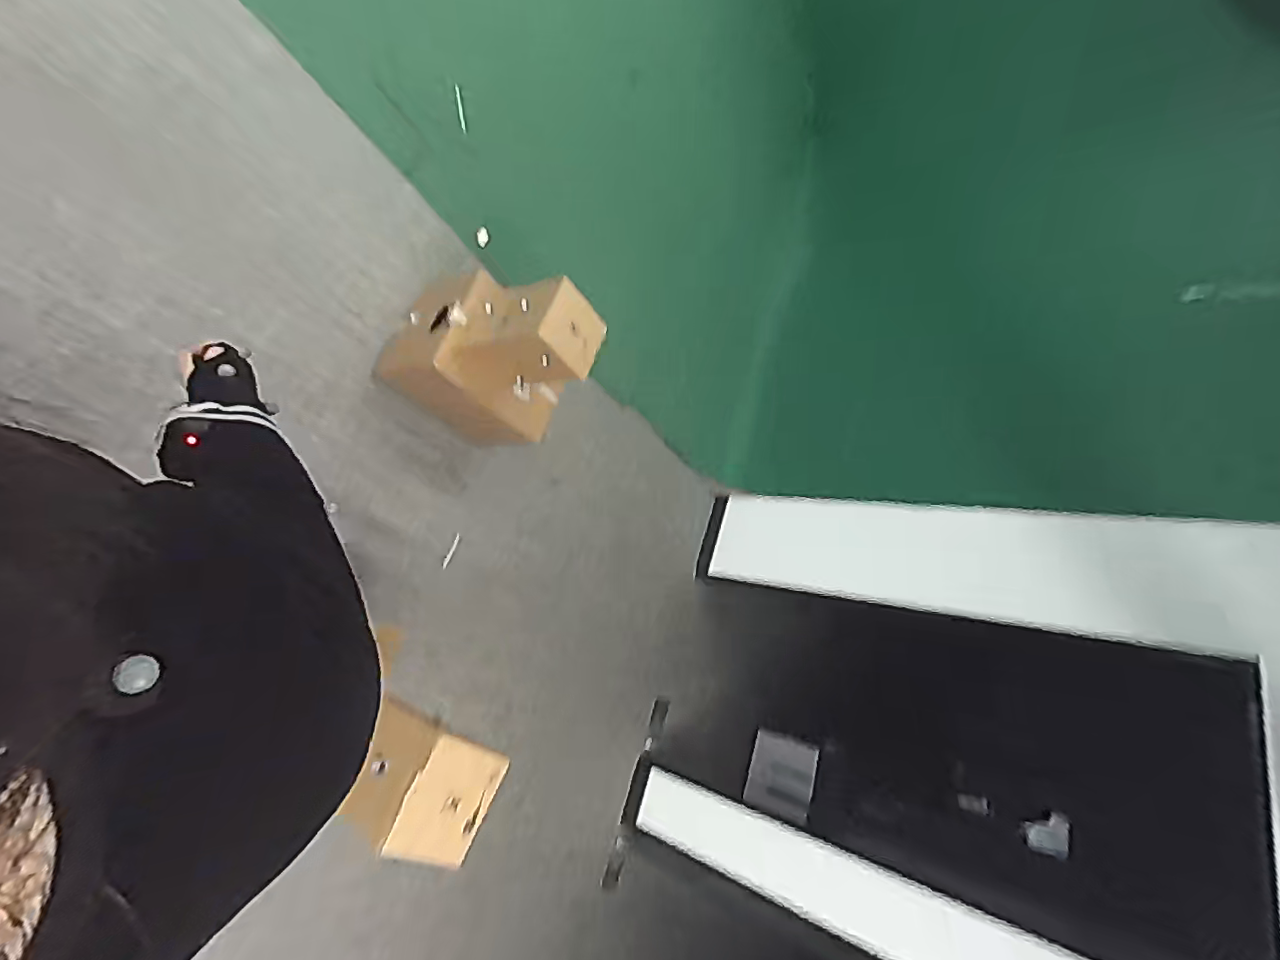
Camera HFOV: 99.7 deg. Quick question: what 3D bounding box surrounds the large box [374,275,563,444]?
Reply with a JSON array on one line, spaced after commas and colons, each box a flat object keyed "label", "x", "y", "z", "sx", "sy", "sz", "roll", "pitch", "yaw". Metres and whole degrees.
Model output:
[{"label": "large box", "x": -0.491, "y": -0.337, "z": 1.623, "sx": 0.408, "sy": 0.320, "sz": 0.320, "roll": 42, "pitch": 60, "yaw": -46}]

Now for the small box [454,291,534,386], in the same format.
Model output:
[{"label": "small box", "x": -0.347, "y": -0.357, "z": 1.409, "sx": 0.179, "sy": 0.176, "sz": 0.168, "roll": 44, "pitch": 58, "yaw": -45}]

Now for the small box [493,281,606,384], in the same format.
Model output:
[{"label": "small box", "x": -0.219, "y": -0.344, "z": 1.304, "sx": 0.179, "sy": 0.176, "sz": 0.168, "roll": 44, "pitch": 59, "yaw": -45}]

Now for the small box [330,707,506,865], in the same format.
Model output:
[{"label": "small box", "x": -0.368, "y": 0.500, "z": 0.900, "sx": 0.179, "sy": 0.176, "sz": 0.168, "roll": 54, "pitch": 52, "yaw": -41}]

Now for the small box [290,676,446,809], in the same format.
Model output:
[{"label": "small box", "x": -0.502, "y": 0.490, "z": 0.994, "sx": 0.168, "sy": 0.176, "sz": 0.179, "roll": 56, "pitch": 50, "yaw": -41}]
